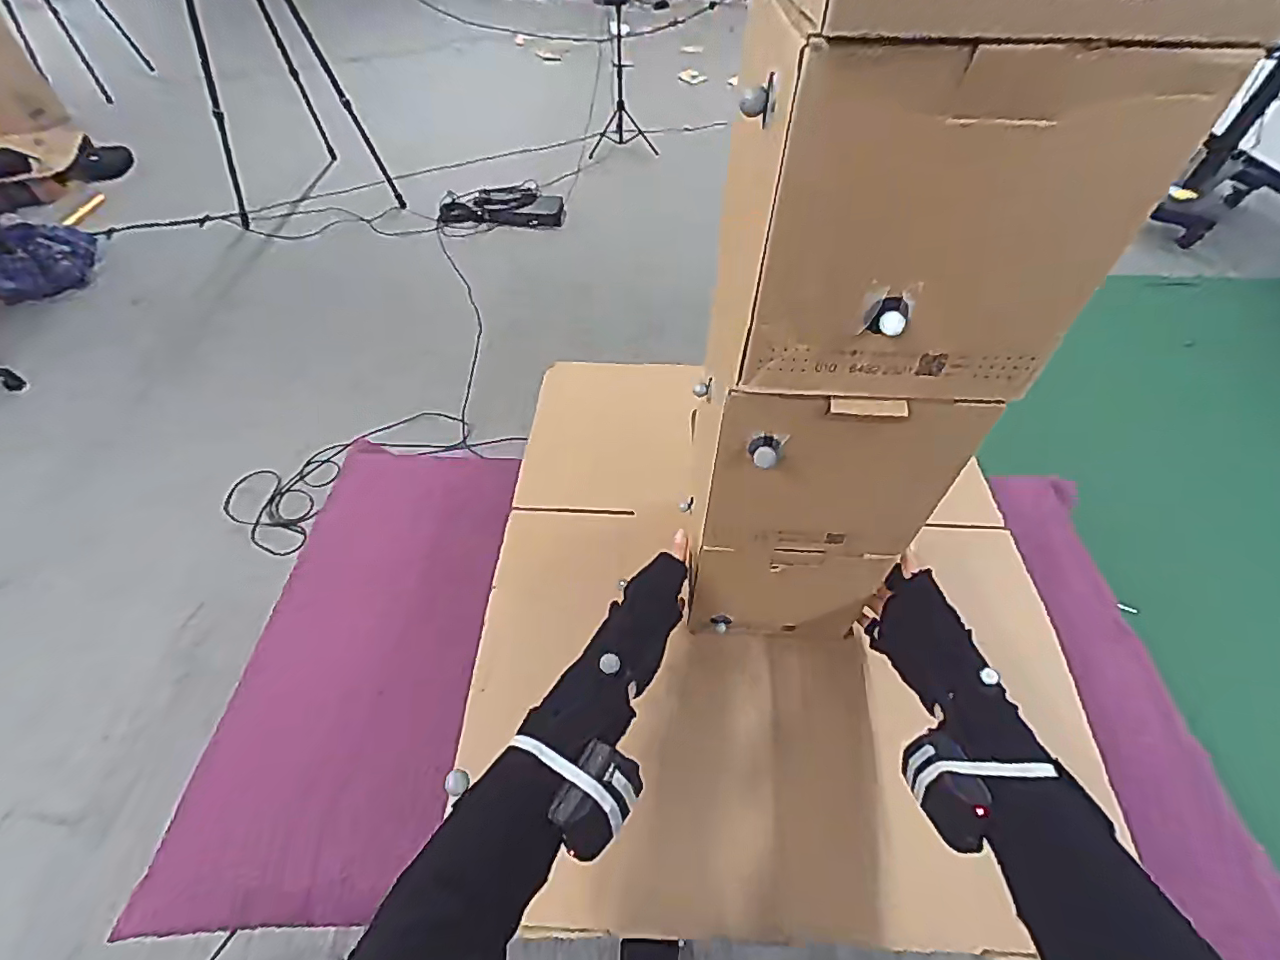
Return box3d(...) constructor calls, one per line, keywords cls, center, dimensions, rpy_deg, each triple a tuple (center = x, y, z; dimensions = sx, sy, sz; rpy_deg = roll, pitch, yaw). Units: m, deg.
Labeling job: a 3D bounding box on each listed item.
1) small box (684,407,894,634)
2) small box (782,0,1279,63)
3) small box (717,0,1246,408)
box3d(cls="small box", center=(0.135, 0.046, 0.562), dimensions=(0.168, 0.176, 0.179), rpy_deg=(2, 50, 2))
box3d(cls="small box", center=(0.141, -0.267, 0.182), dimensions=(0.168, 0.176, 0.179), rpy_deg=(0, 51, 0))
box3d(cls="small box", center=(0.139, -0.164, 0.310), dimensions=(0.168, 0.176, 0.179), rpy_deg=(1, 51, 0))
